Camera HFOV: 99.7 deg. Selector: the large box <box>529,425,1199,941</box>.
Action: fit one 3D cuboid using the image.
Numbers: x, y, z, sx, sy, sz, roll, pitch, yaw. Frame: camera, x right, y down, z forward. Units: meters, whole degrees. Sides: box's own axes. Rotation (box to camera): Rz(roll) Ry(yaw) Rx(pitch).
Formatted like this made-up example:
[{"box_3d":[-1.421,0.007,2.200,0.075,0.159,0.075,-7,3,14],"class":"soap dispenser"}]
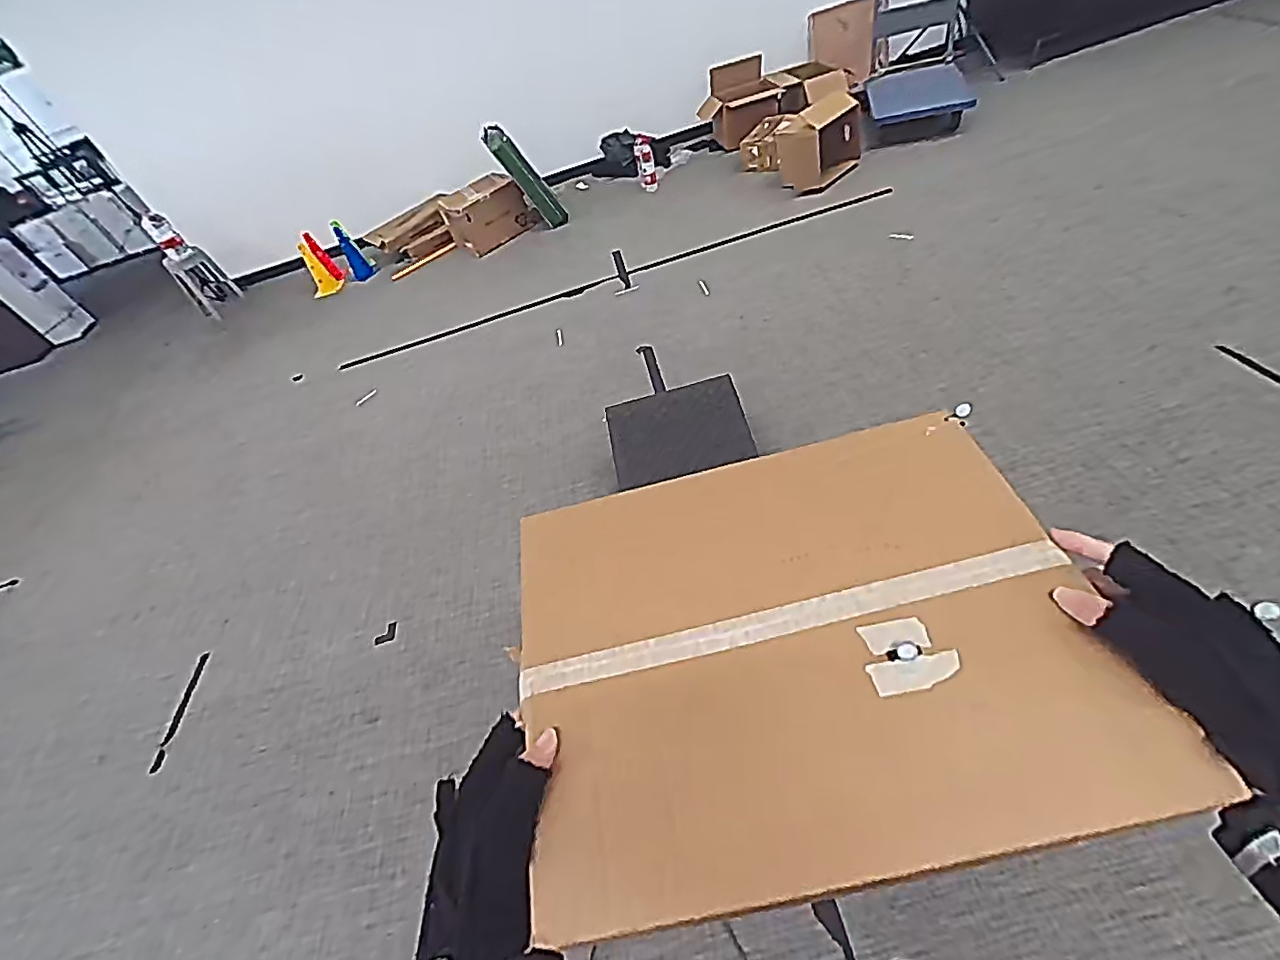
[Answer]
[{"box_3d":[0.138,0.204,0.528,0.408,0.320,0.320,-15,51,2],"class":"large box"}]
